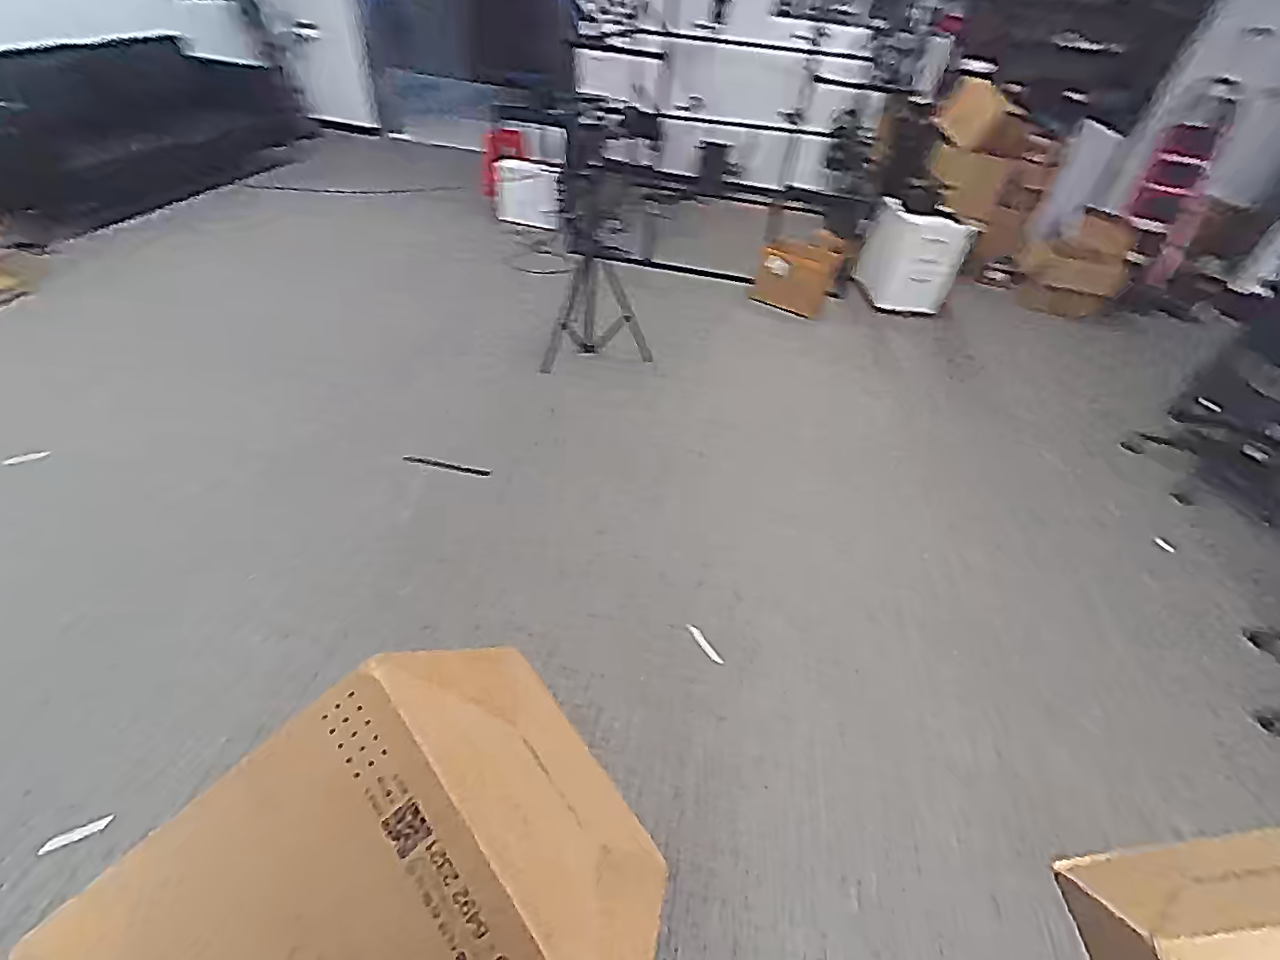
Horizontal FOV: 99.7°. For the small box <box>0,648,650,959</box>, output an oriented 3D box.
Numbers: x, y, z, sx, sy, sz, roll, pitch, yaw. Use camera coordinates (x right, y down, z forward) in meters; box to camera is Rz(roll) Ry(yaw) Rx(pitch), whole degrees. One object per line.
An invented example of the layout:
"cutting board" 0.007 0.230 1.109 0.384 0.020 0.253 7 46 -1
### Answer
"small box" -0.111 0.196 0.250 0.176 0.179 0.168 -41 74 -7
